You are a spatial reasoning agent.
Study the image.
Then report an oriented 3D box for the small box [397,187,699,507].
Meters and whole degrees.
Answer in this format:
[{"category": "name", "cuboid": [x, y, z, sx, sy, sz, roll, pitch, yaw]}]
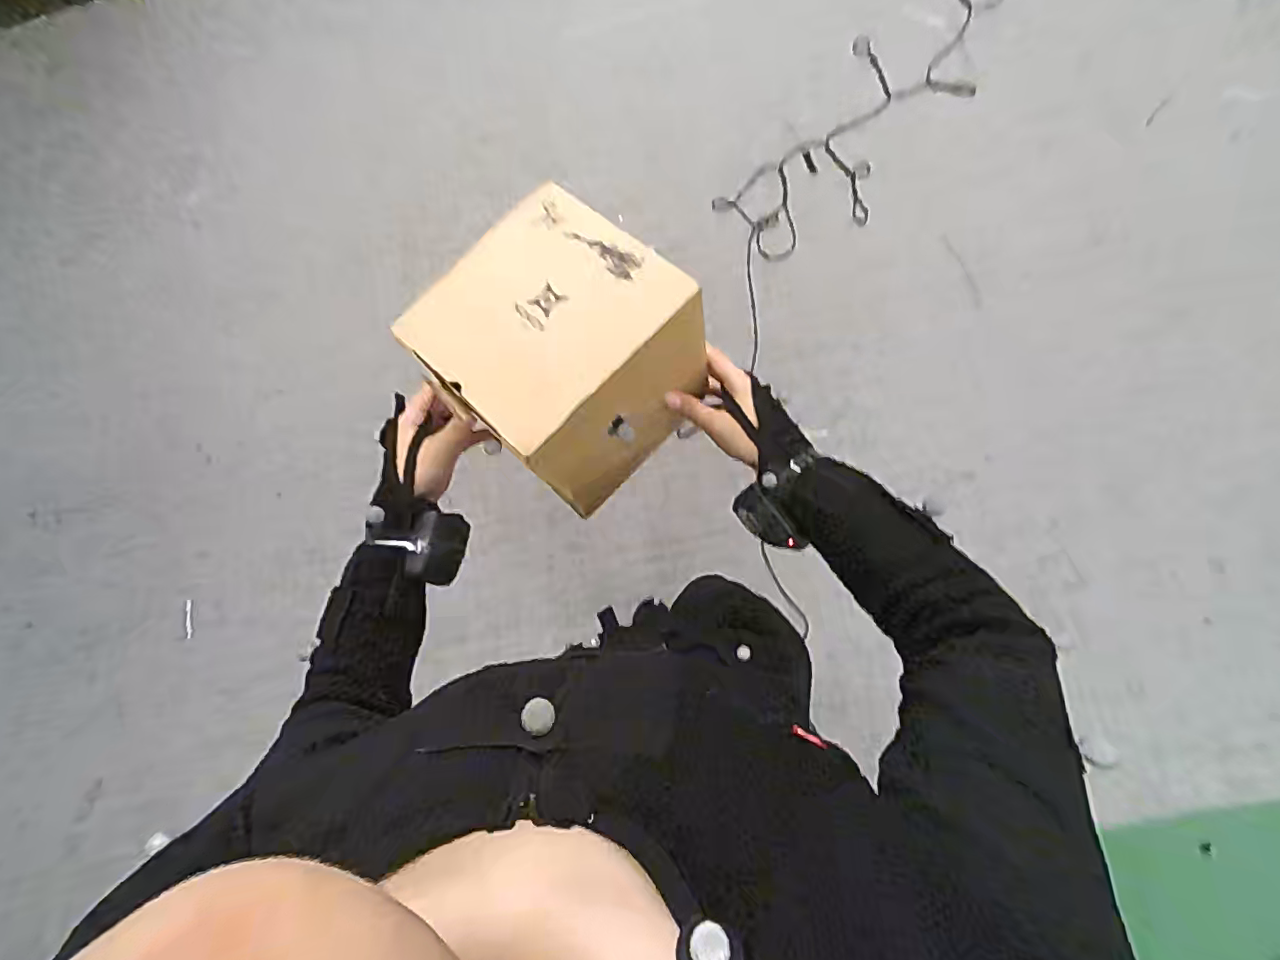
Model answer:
[{"category": "small box", "cuboid": [-0.062, -0.101, 0.476, 0.168, 0.176, 0.179, 42, 83, 19]}]
